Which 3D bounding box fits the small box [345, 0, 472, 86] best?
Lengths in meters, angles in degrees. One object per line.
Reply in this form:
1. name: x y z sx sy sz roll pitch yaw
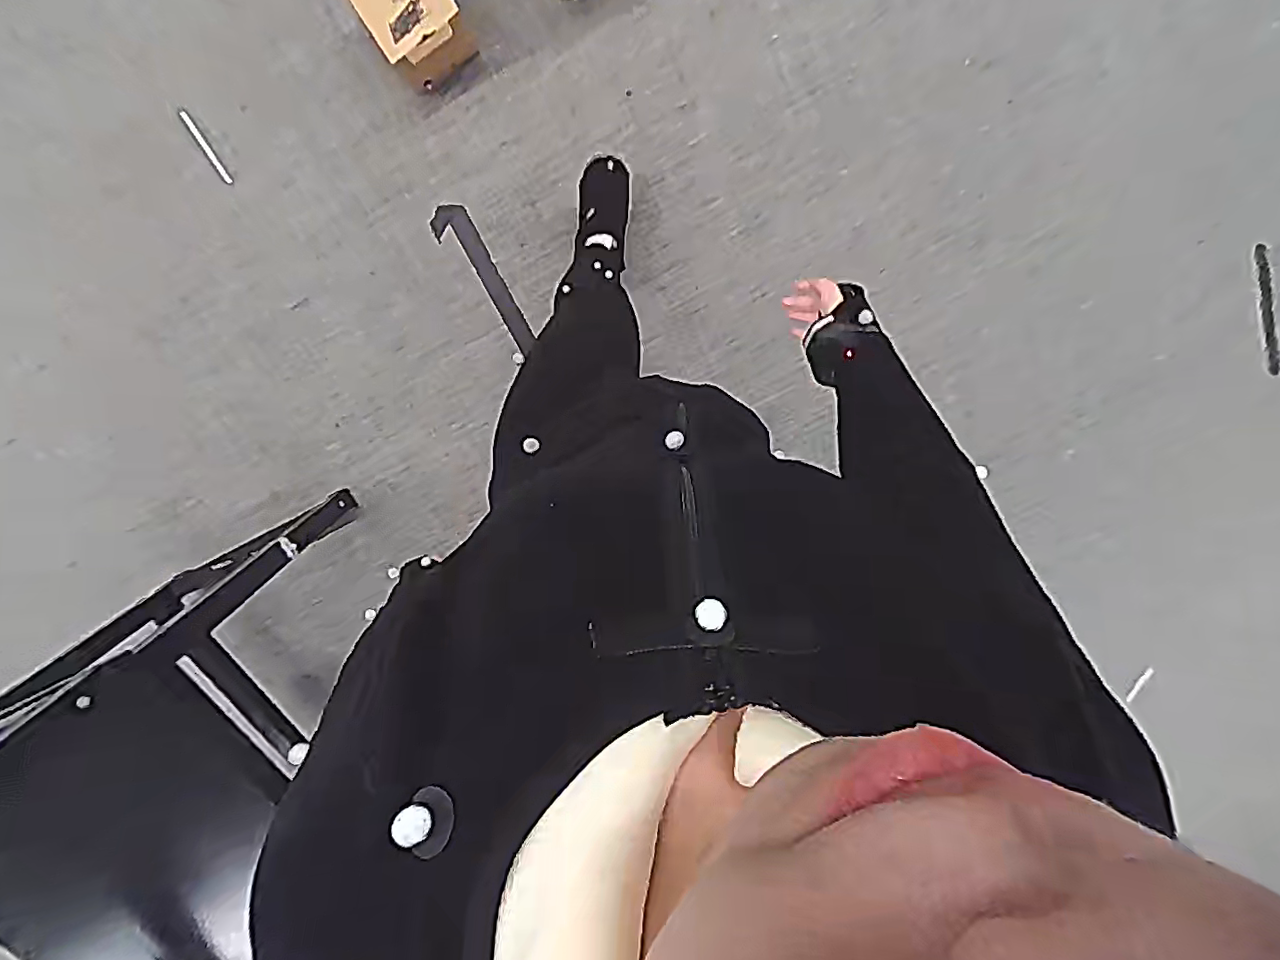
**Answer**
1. small box: -0.459 -0.921 1.065 0.168 0.176 0.179 -32 108 6
